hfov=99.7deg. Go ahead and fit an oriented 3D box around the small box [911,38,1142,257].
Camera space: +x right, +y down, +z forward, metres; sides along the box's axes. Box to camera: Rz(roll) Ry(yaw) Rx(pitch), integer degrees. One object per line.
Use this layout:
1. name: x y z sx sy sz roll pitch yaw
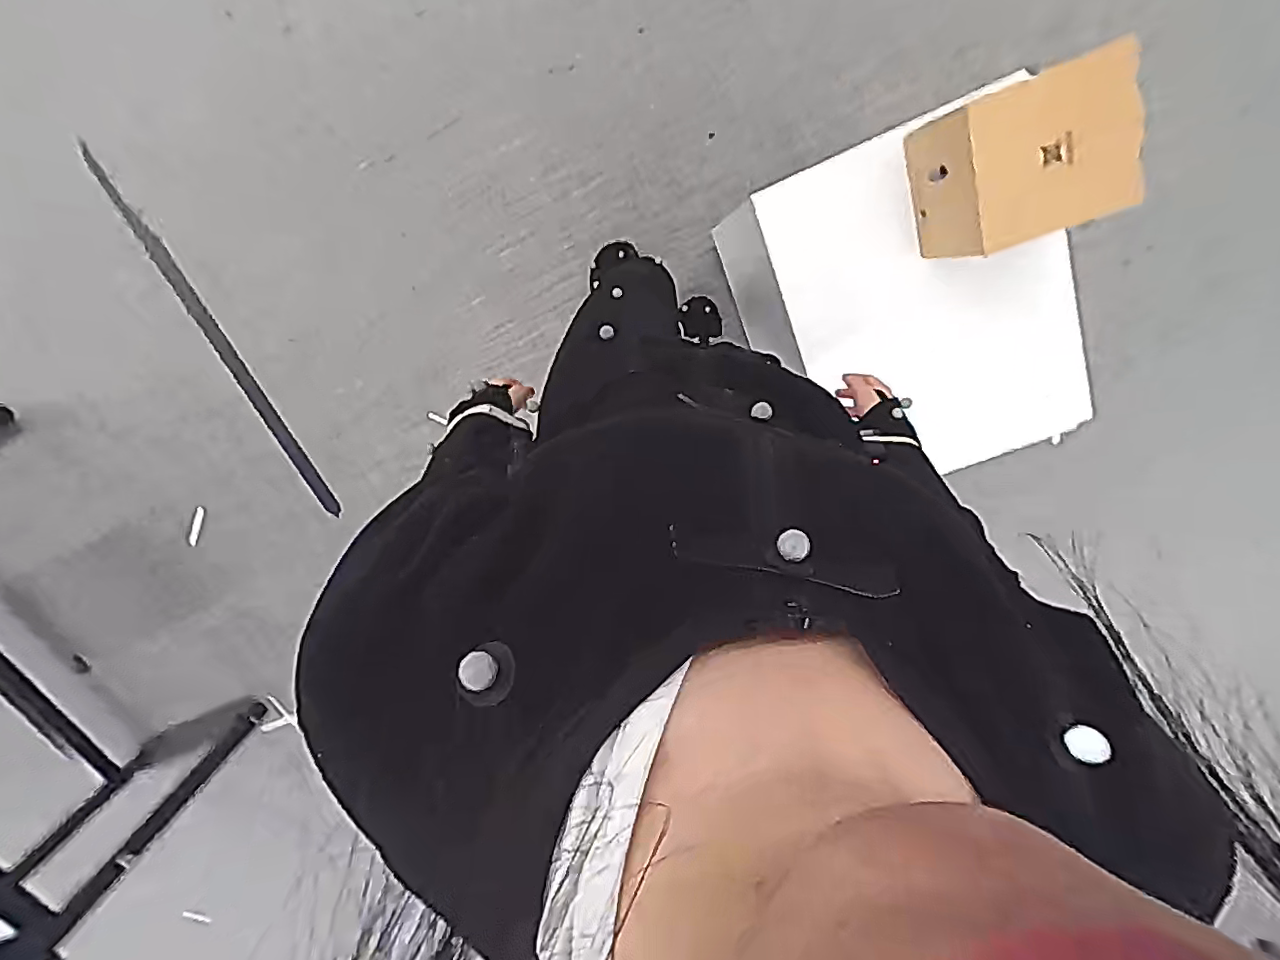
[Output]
1. small box: 0.458 -0.386 0.668 0.179 0.176 0.168 -18 109 8
